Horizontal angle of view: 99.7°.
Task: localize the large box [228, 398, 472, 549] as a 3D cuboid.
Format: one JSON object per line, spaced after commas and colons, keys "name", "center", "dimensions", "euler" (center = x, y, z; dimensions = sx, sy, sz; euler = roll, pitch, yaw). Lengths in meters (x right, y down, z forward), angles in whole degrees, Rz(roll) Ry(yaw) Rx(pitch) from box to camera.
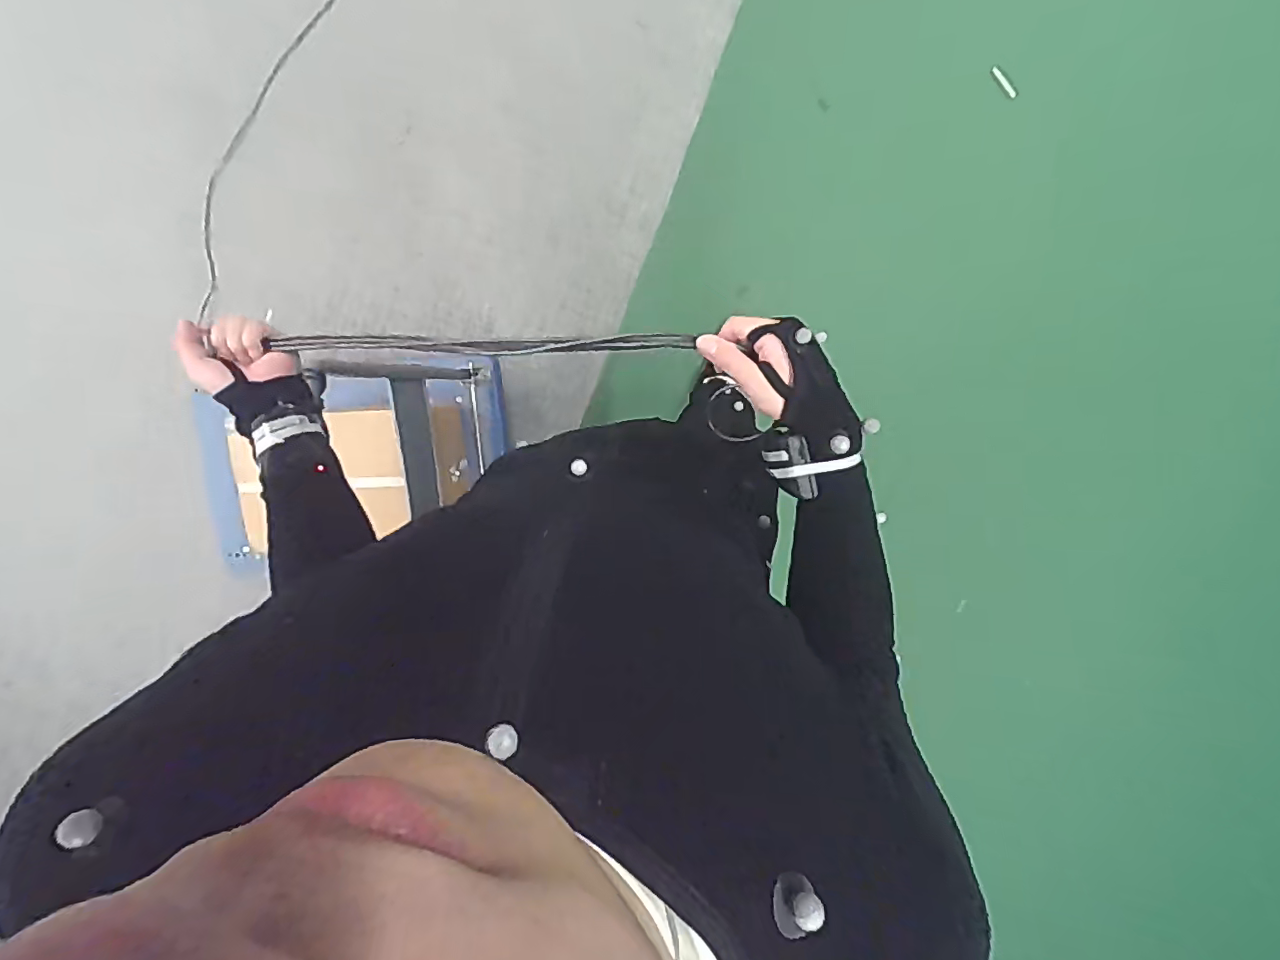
{"name": "large box", "center": [-0.676, -0.029, 1.327], "dimensions": [0.408, 0.320, 0.320], "euler": [-2, 100, 6]}
